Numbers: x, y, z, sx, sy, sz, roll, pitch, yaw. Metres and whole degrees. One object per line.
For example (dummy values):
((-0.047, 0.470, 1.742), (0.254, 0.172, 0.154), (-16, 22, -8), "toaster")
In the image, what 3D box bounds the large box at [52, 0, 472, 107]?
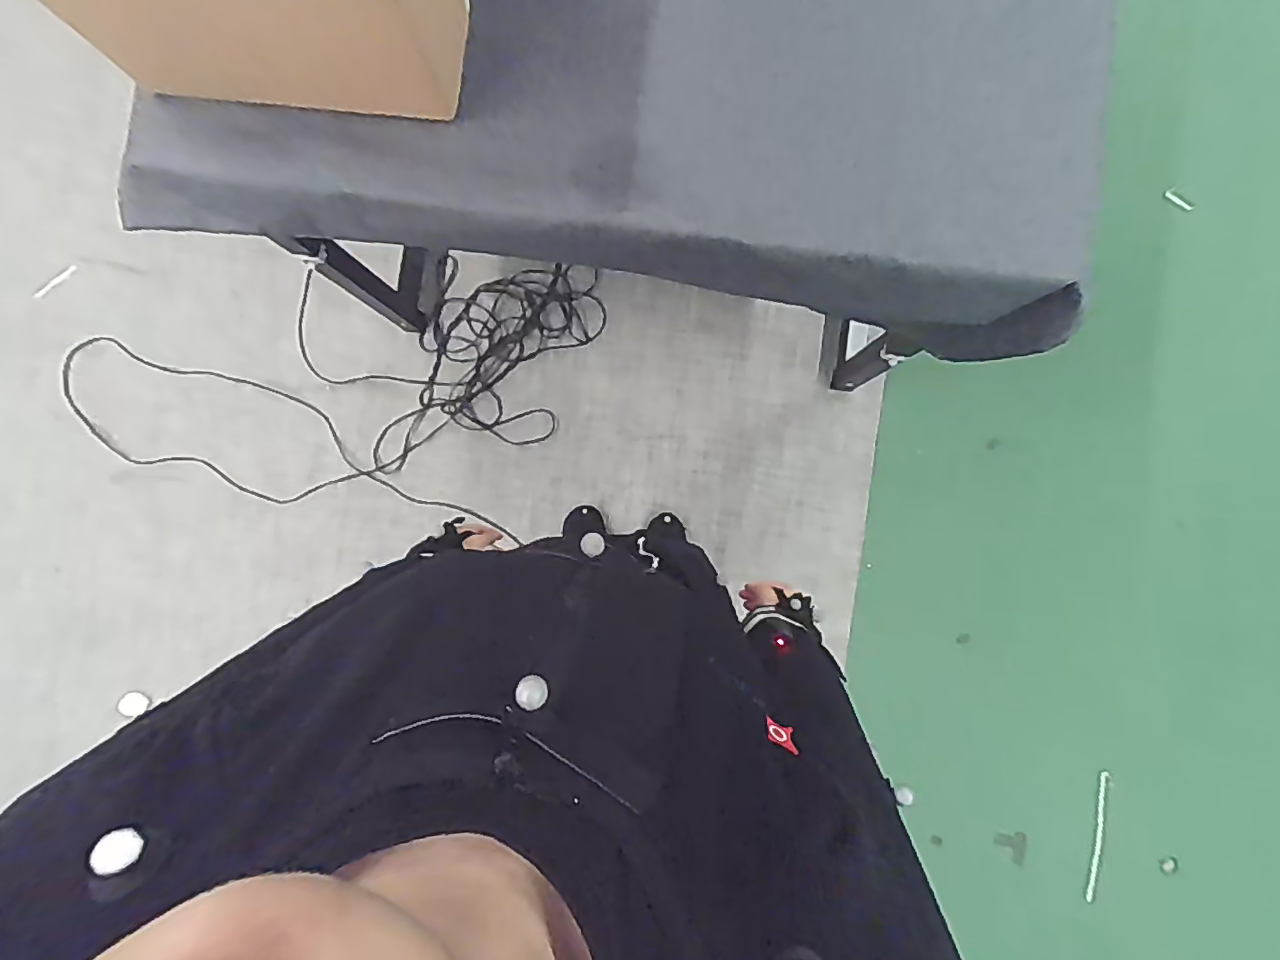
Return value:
((-0.411, -0.637, 0.541), (0.408, 0.320, 0.320), (5, 88, 0), "large box")
